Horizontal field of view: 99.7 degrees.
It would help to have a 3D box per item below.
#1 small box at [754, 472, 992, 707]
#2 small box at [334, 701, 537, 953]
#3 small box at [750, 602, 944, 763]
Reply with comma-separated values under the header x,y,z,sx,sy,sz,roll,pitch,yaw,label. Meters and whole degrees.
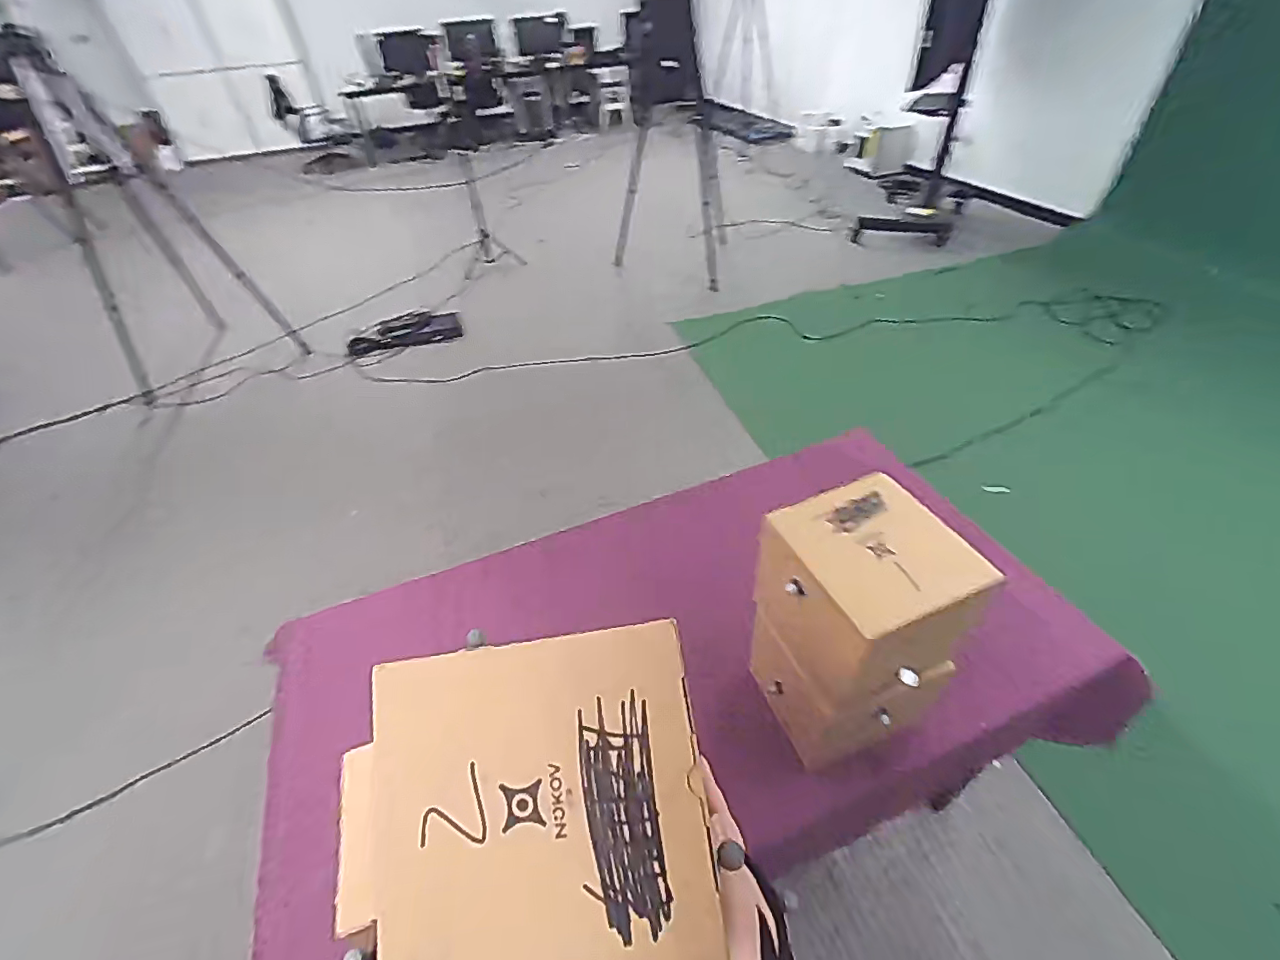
x,y,z,sx,sy,sz,roll,pitch,yaw,label
0.247,0.124,0.626,0.168,0.176,0.179,-19,45,-14,small box
-0.227,0.397,0.624,0.168,0.176,0.179,-17,44,-13,small box
0.261,0.249,0.732,0.179,0.176,0.168,-16,44,-12,small box
